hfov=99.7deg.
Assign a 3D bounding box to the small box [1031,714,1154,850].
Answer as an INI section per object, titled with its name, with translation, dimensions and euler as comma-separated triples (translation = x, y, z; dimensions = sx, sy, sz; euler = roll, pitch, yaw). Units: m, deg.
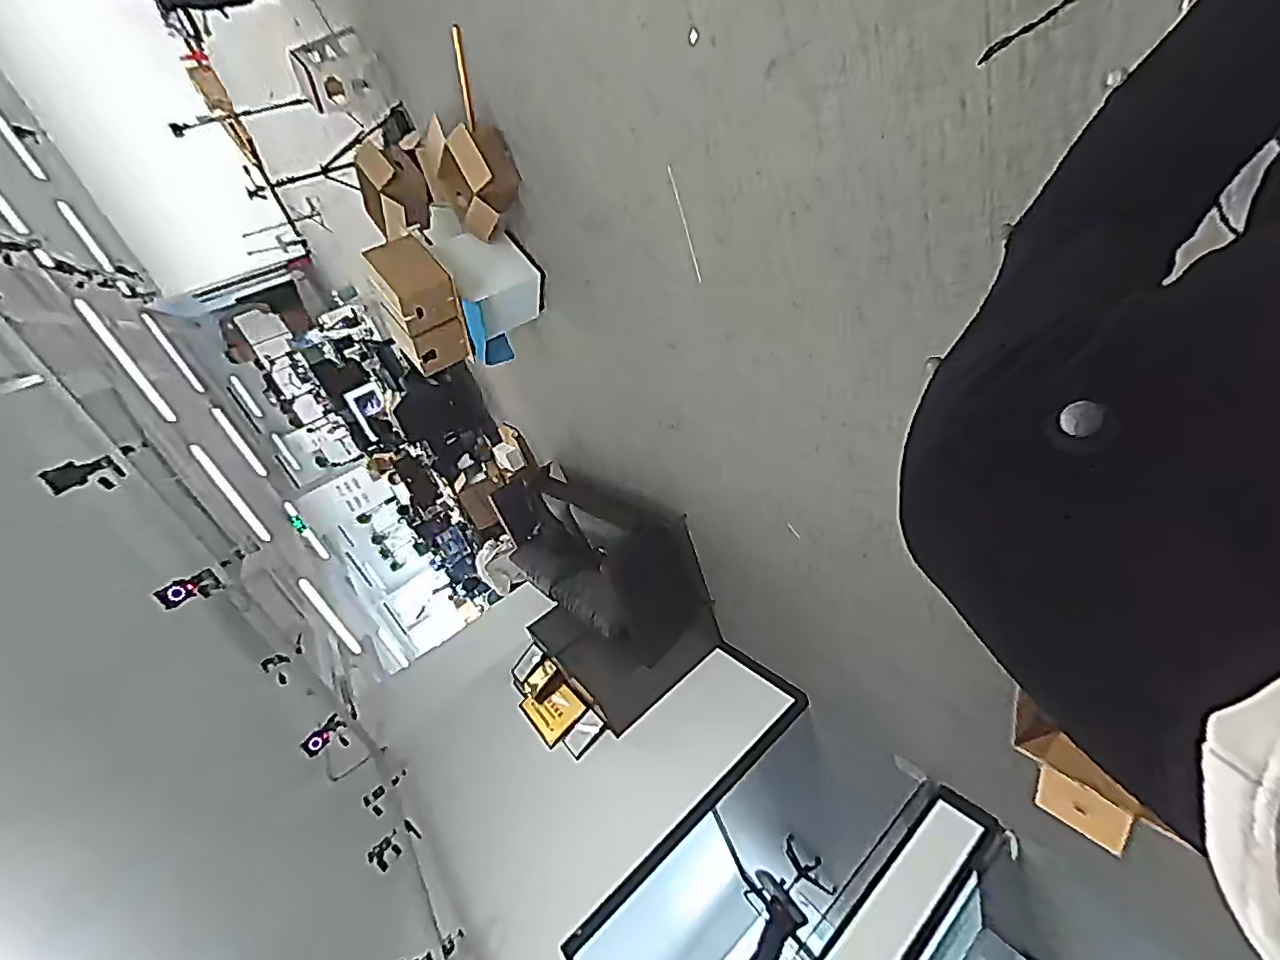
[small box]
translation = 1.038, 0.687, 1.245
dimensions = 0.168, 0.176, 0.179
euler = 25, 139, 50
